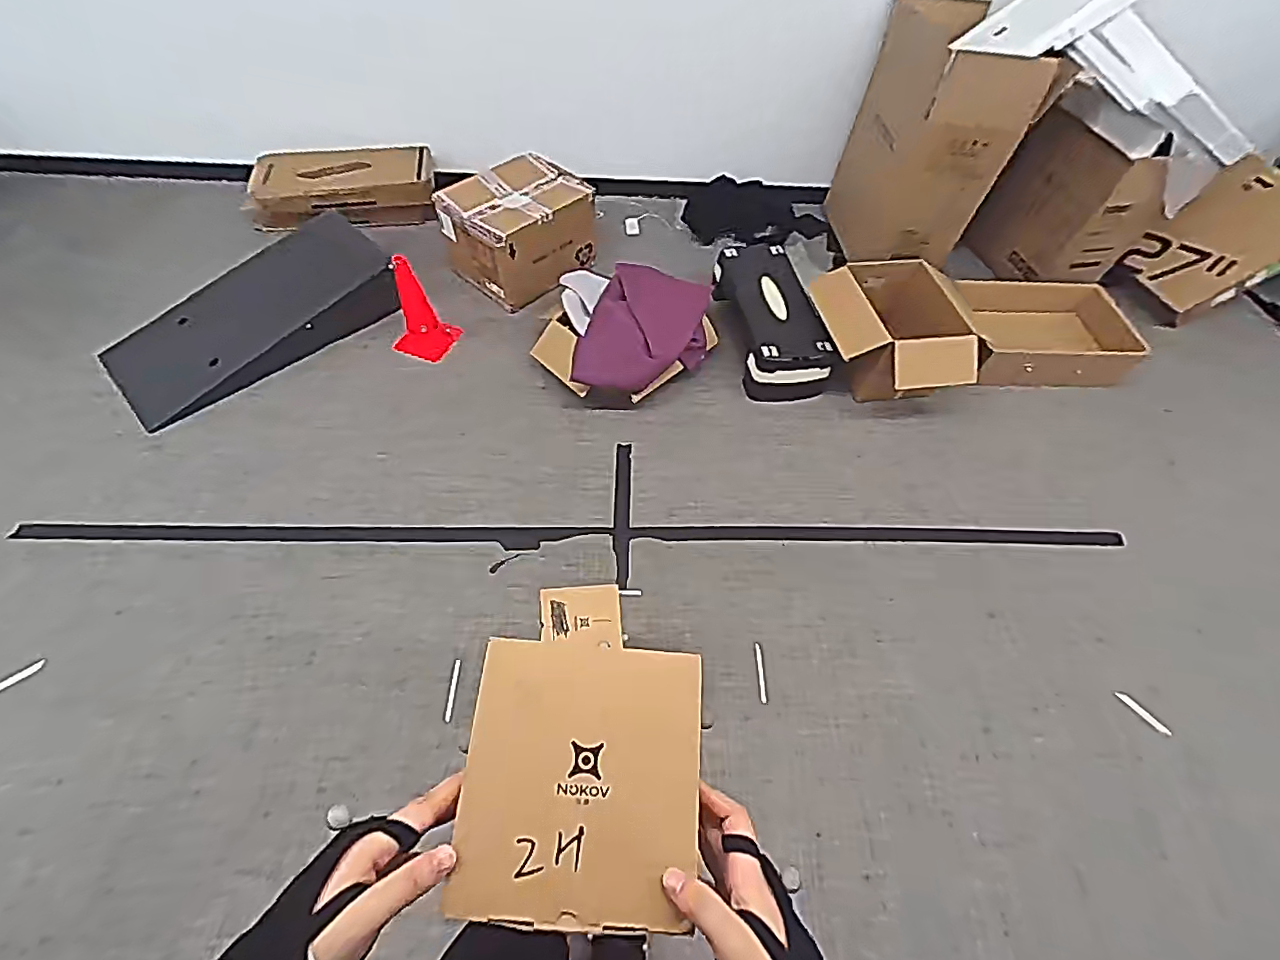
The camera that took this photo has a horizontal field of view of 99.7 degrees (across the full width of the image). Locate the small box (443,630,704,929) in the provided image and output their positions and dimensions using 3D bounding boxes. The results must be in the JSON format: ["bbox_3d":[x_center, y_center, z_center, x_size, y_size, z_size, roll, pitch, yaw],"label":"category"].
[{"bbox_3d":[-0.044,0.234,0.450,0.168,0.176,0.179,5,65,-2],"label":"small box"}]

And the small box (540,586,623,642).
[{"bbox_3d":[-0.129,0.352,1.220,0.179,0.176,0.168,-3,57,-5],"label":"small box"}]
